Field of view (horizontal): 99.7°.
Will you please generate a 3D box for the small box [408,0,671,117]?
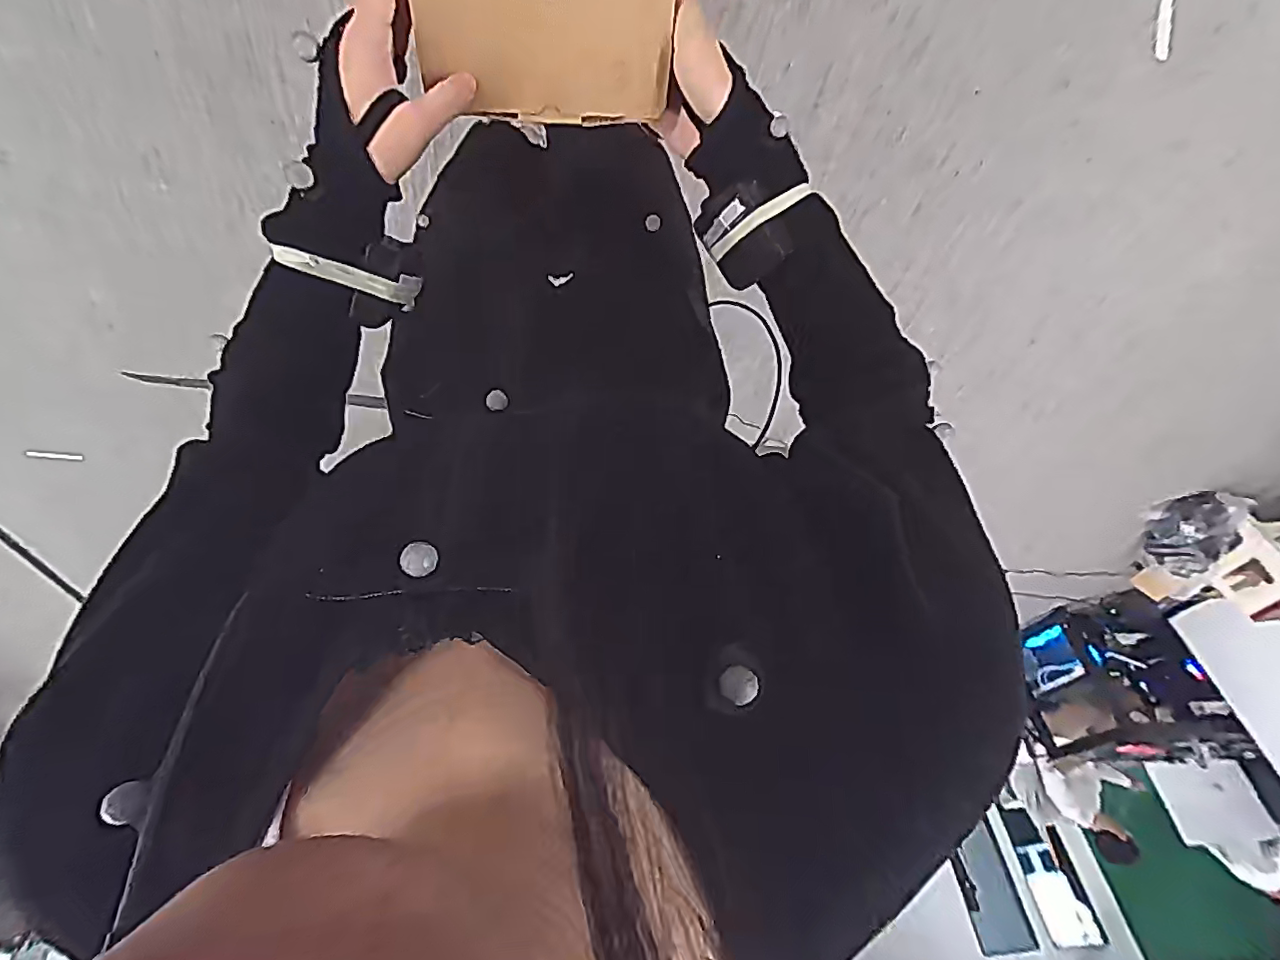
[{"bbox_3d":[-0.071,-0.375,0.372,0.168,0.176,0.179,-5,135,-10],"label":"small box"}]
